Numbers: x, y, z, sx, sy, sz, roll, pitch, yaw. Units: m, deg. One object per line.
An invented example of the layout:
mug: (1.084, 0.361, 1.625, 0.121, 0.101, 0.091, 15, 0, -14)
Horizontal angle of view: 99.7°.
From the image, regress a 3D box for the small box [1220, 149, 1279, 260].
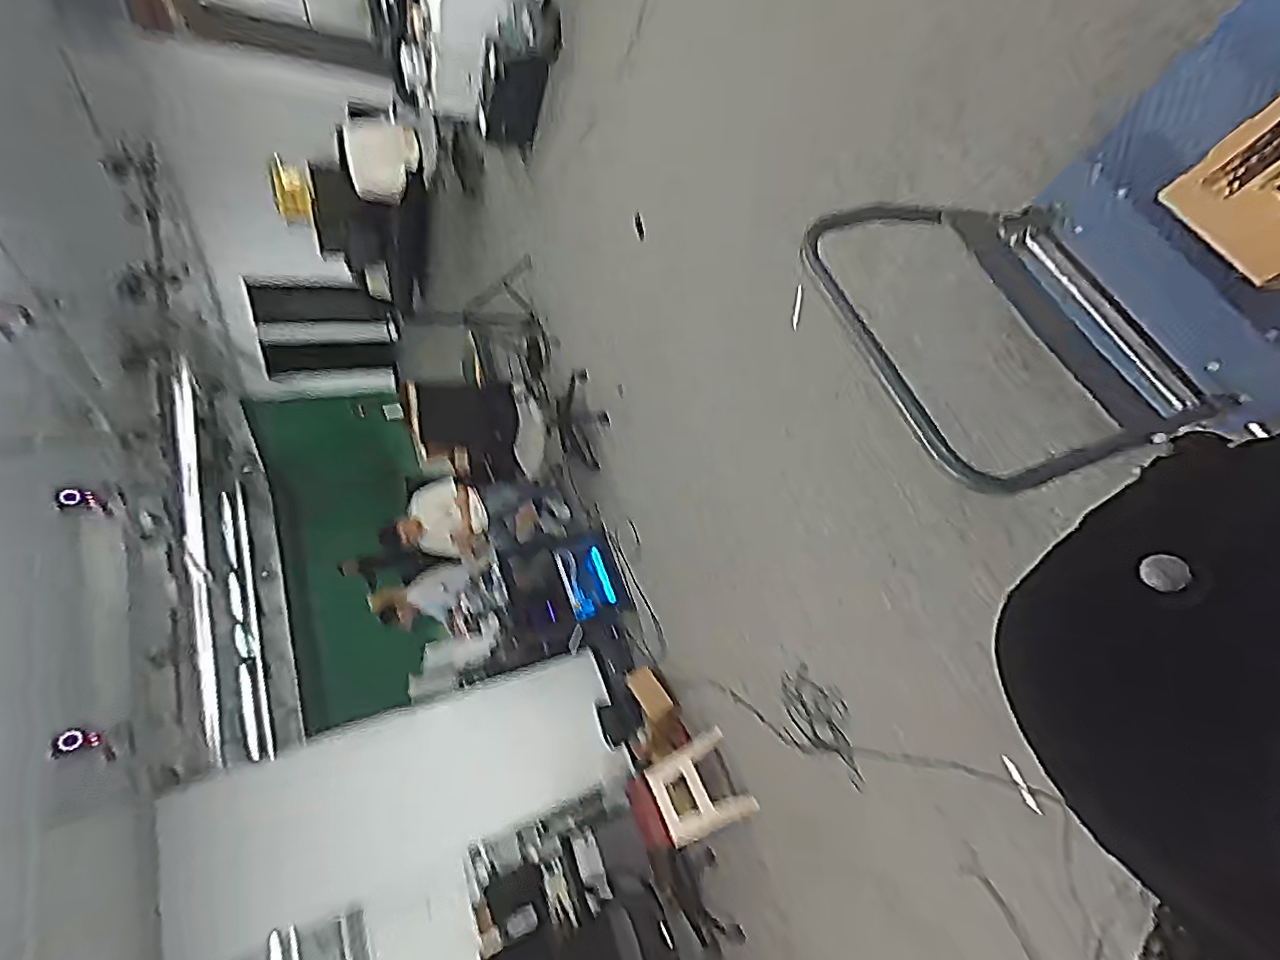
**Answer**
small box: (0.979, -0.394, 0.743, 0.168, 0.176, 0.179, -49, 57, 54)
